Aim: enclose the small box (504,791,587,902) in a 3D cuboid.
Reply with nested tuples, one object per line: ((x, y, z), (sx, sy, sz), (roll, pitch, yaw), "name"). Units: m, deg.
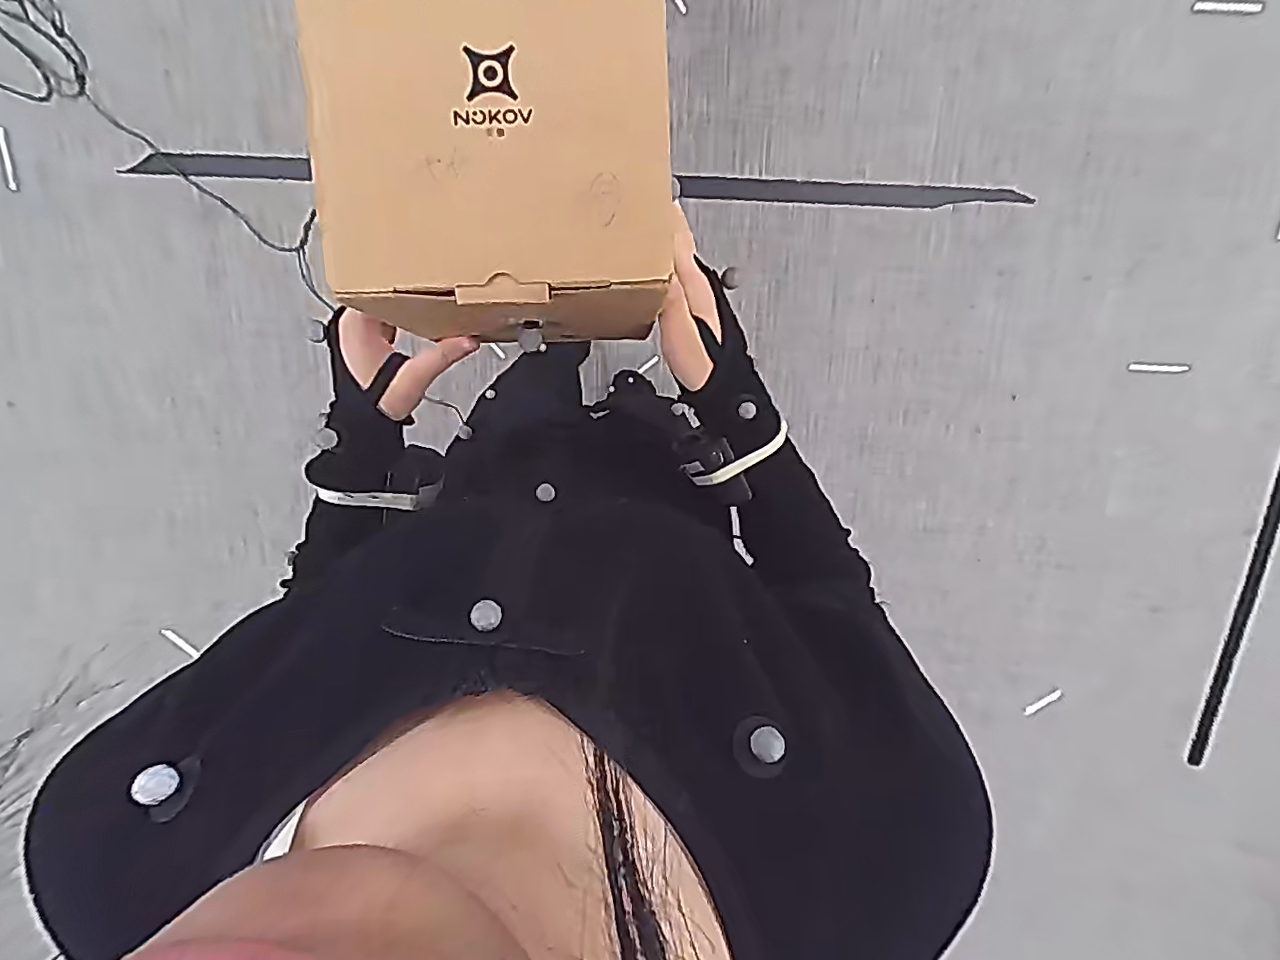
((-0.221, 0.887, 1.312), (0.179, 0.176, 0.168), (1, 102, 1), "small box")

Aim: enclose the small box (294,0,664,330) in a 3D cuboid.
((-0.074, -0.188, 0.327), (0.168, 0.176, 0.179), (-2, 97, -3), "small box")
